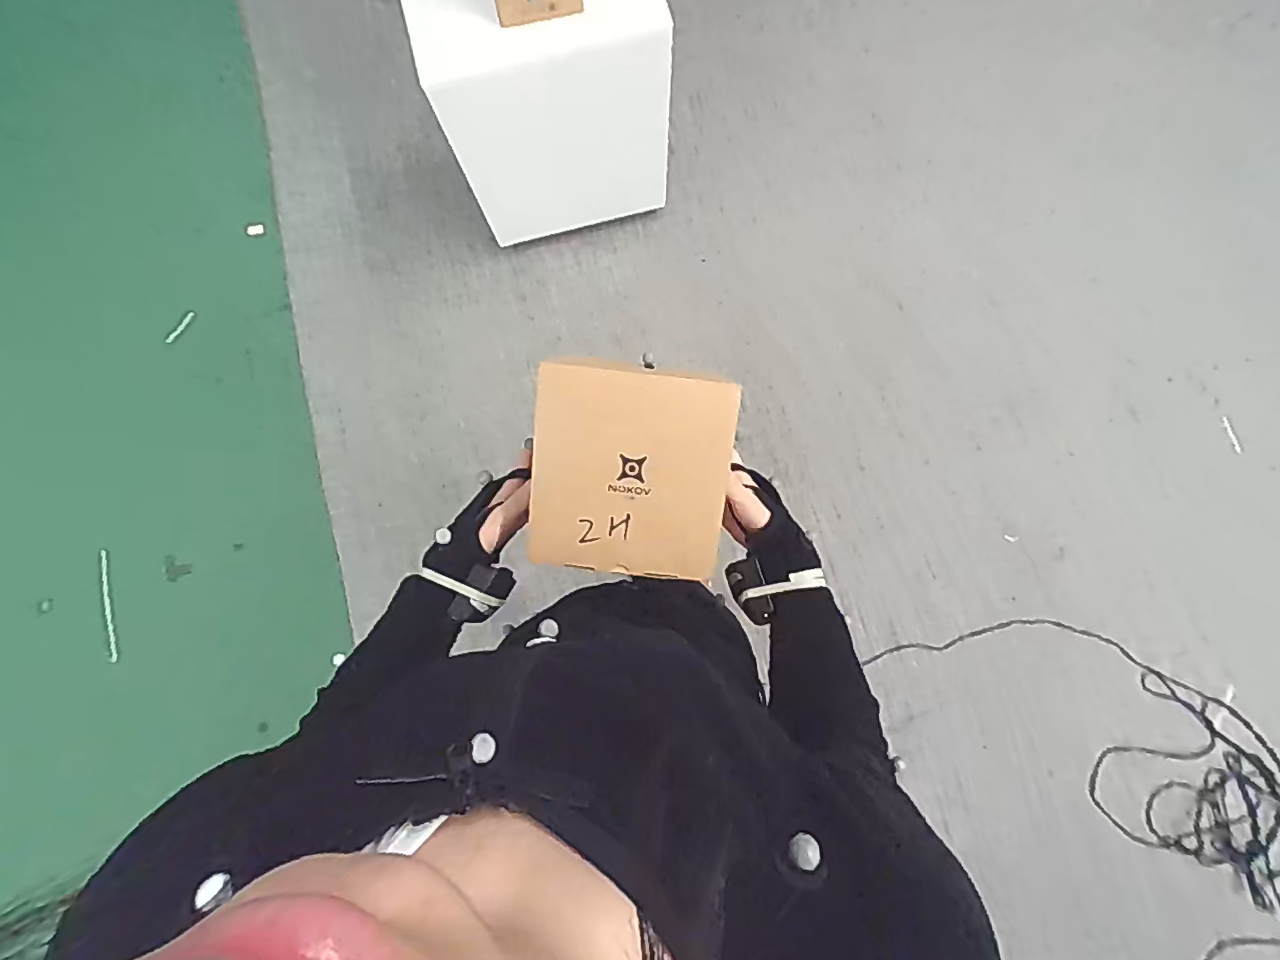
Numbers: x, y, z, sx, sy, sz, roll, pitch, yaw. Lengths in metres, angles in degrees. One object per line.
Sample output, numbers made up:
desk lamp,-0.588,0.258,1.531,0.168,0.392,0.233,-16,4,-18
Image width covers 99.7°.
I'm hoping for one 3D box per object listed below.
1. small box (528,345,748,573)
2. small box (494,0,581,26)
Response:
small box,-0.005,-0.031,0.514,0.168,0.176,0.179,5,104,-1
small box,-0.209,-0.987,0.982,0.168,0.176,0.179,-13,81,-1
